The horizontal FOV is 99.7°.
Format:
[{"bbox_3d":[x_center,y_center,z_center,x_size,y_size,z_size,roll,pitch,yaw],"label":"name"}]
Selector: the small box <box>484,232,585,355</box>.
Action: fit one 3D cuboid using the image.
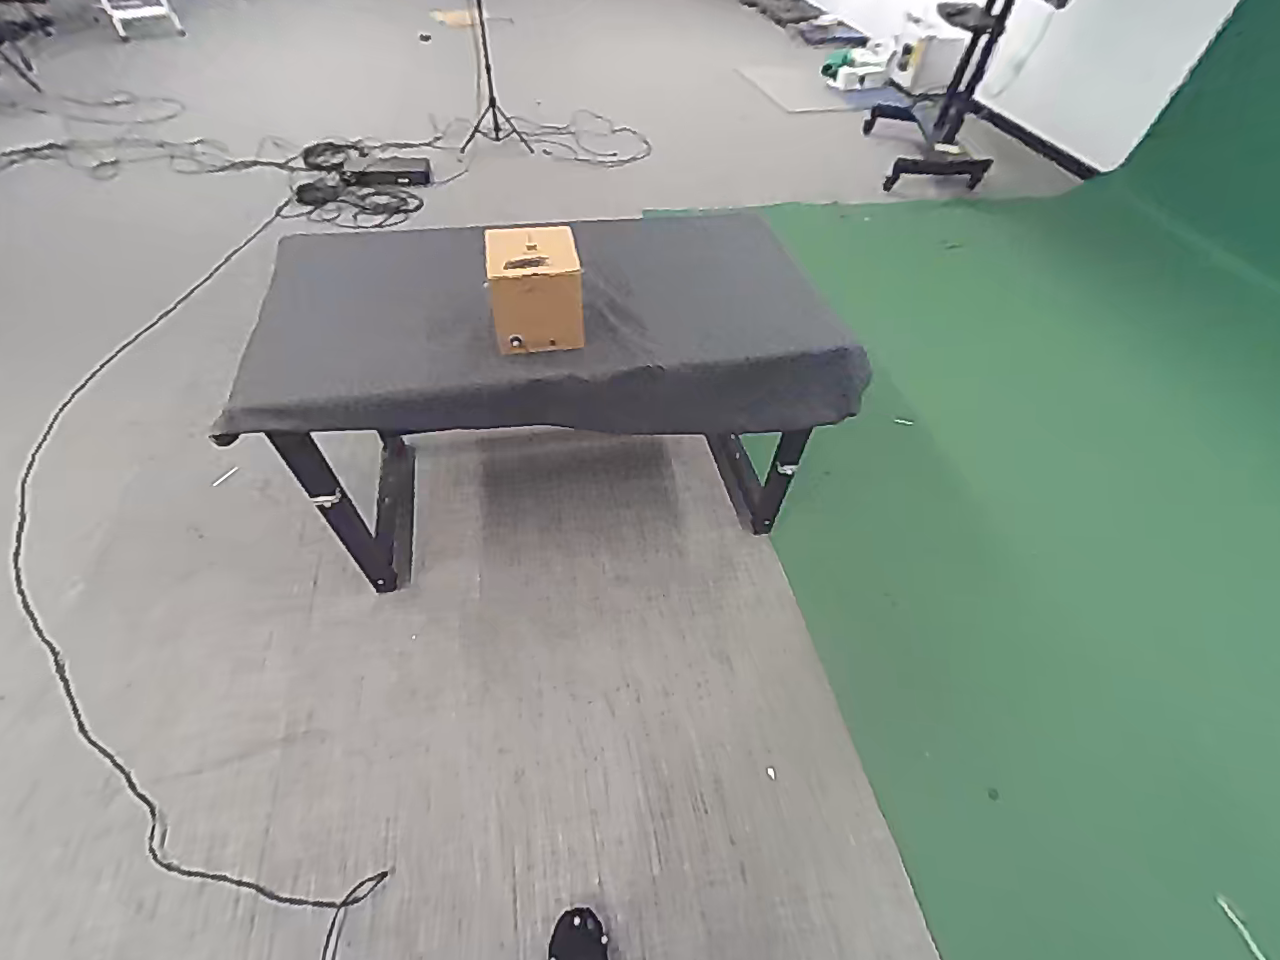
[{"bbox_3d":[-0.207,-0.365,1.076,0.168,0.176,0.179,-10,53,-11],"label":"small box"}]
